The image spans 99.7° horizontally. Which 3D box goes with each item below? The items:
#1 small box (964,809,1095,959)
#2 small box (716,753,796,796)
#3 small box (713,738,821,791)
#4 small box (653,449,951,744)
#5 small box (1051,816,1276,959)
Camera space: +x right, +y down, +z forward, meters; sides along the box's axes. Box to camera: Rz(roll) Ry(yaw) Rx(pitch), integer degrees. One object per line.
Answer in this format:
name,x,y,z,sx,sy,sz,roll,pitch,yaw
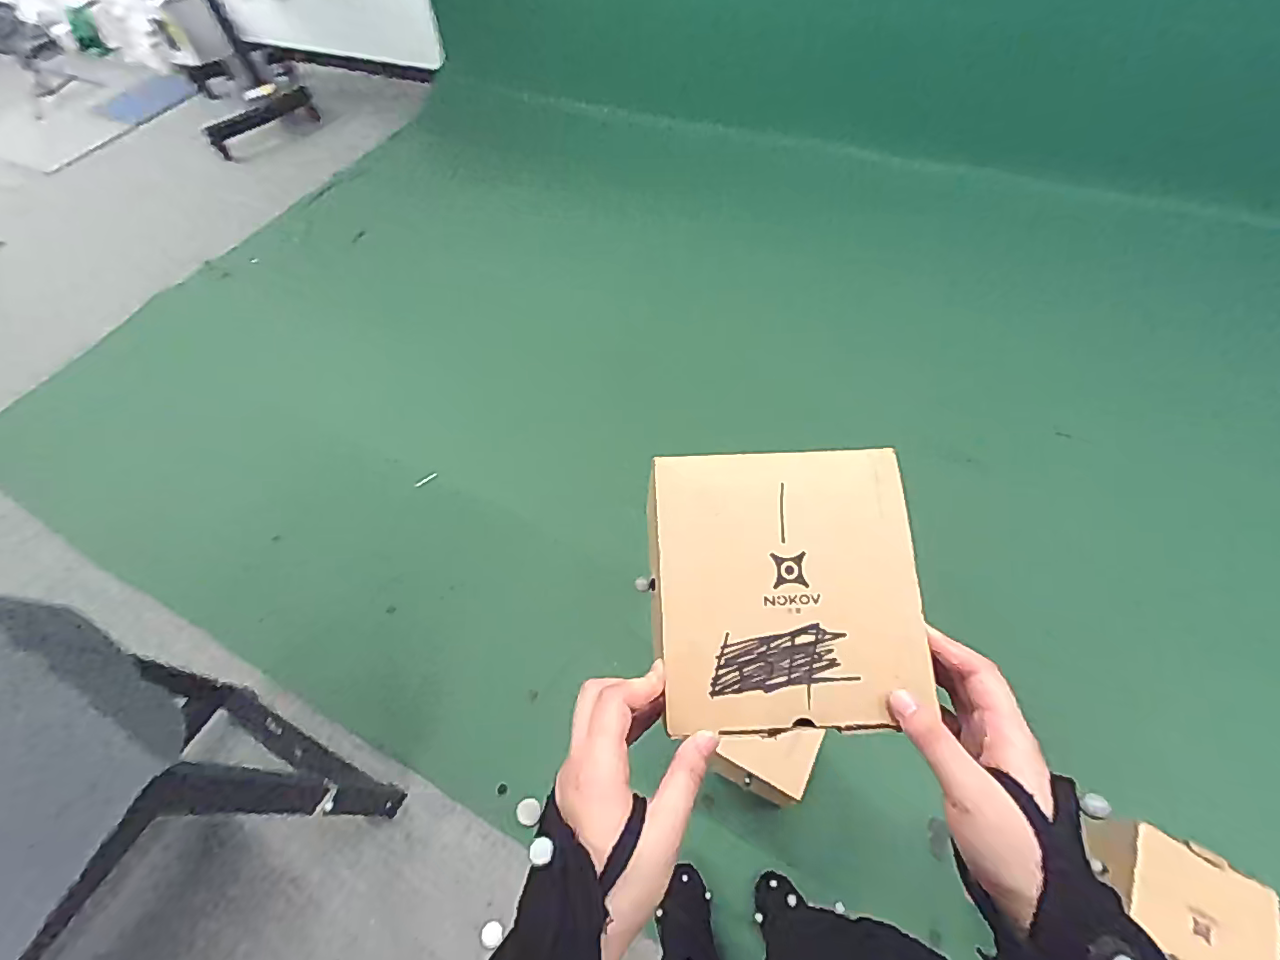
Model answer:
small box,0.773,0.785,1.064,0.168,0.176,0.179,30,65,20
small box,0.279,0.591,1.219,0.179,0.176,0.168,22,64,17
small box,0.256,0.502,1.085,0.179,0.176,0.168,24,64,18
small box,0.097,0.085,0.412,0.168,0.176,0.179,-2,76,-2
small box,0.741,0.618,0.781,0.168,0.176,0.179,27,63,17
